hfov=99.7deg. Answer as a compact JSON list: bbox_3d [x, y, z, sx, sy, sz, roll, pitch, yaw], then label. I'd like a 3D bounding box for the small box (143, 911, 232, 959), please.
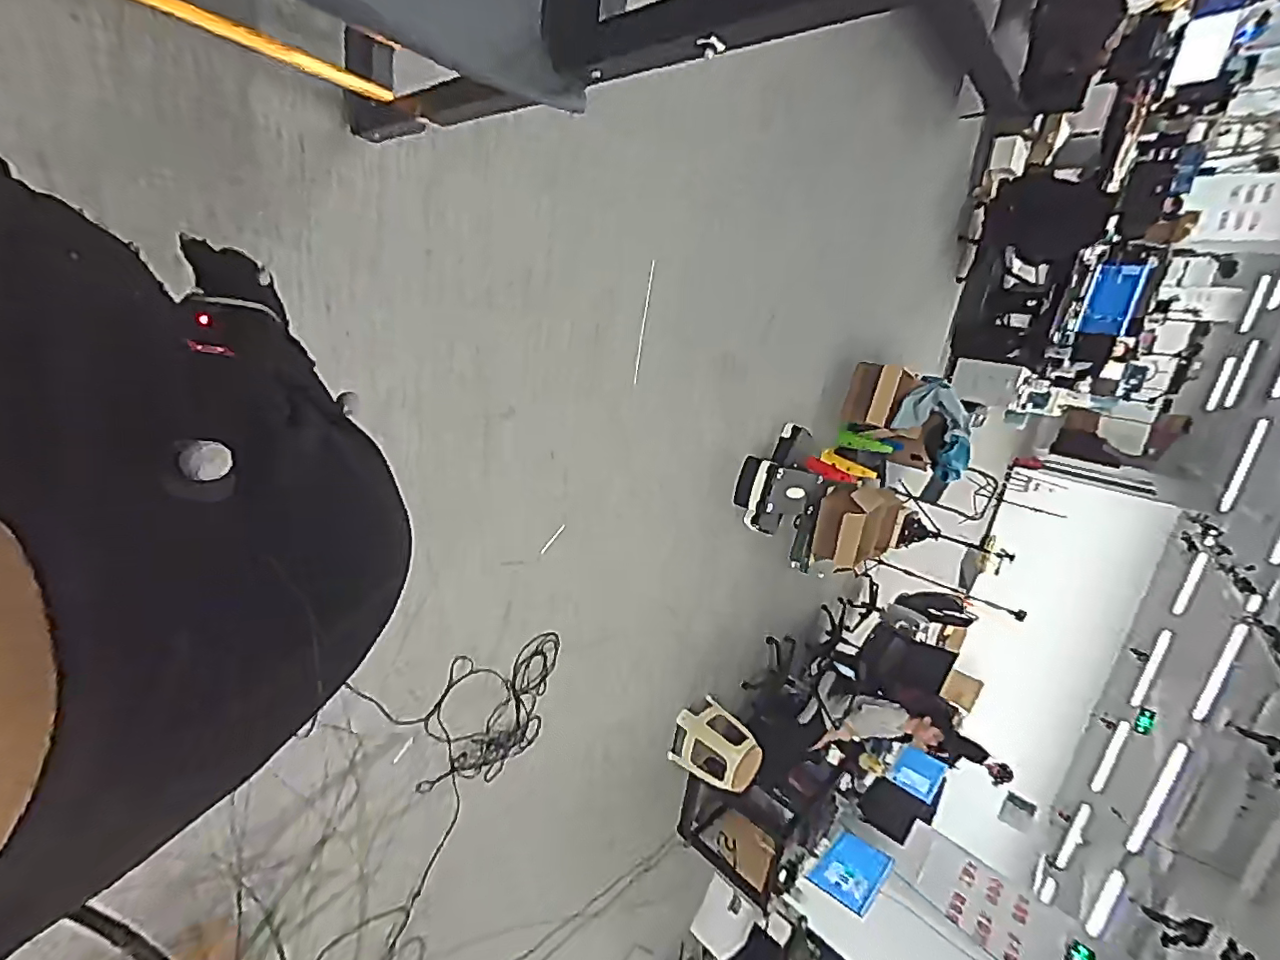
[{"bbox_3d":[-1.229,1.343,1.469,0.168,0.176,0.179,-6,111,-48],"label":"small box"}]
